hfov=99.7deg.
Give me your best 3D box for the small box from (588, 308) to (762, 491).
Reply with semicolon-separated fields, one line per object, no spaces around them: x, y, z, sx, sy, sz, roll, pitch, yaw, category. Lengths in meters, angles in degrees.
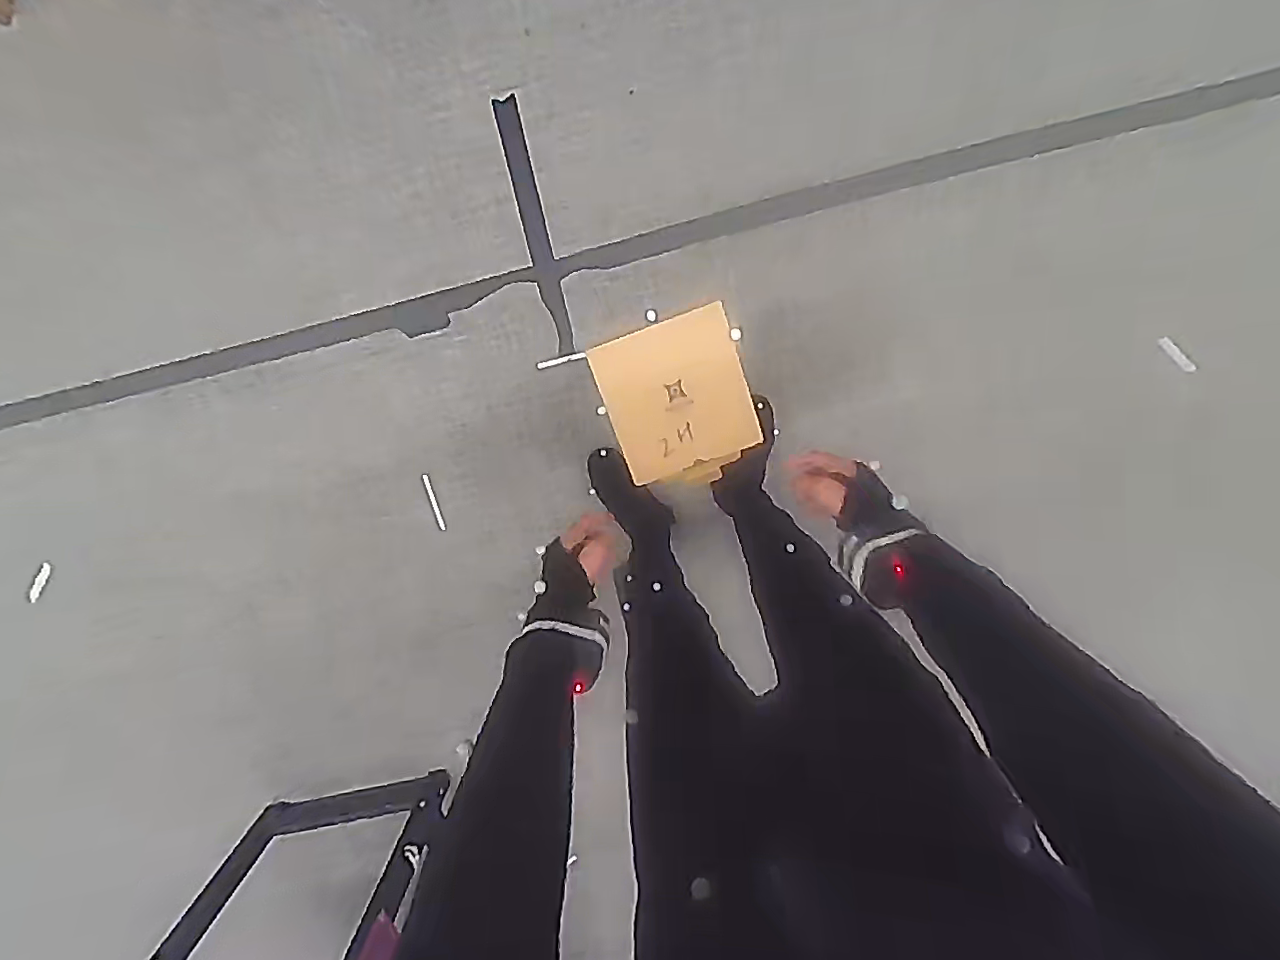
0.042;-0.111;0.710;0.168;0.176;0.179;-19;106;6;small box
